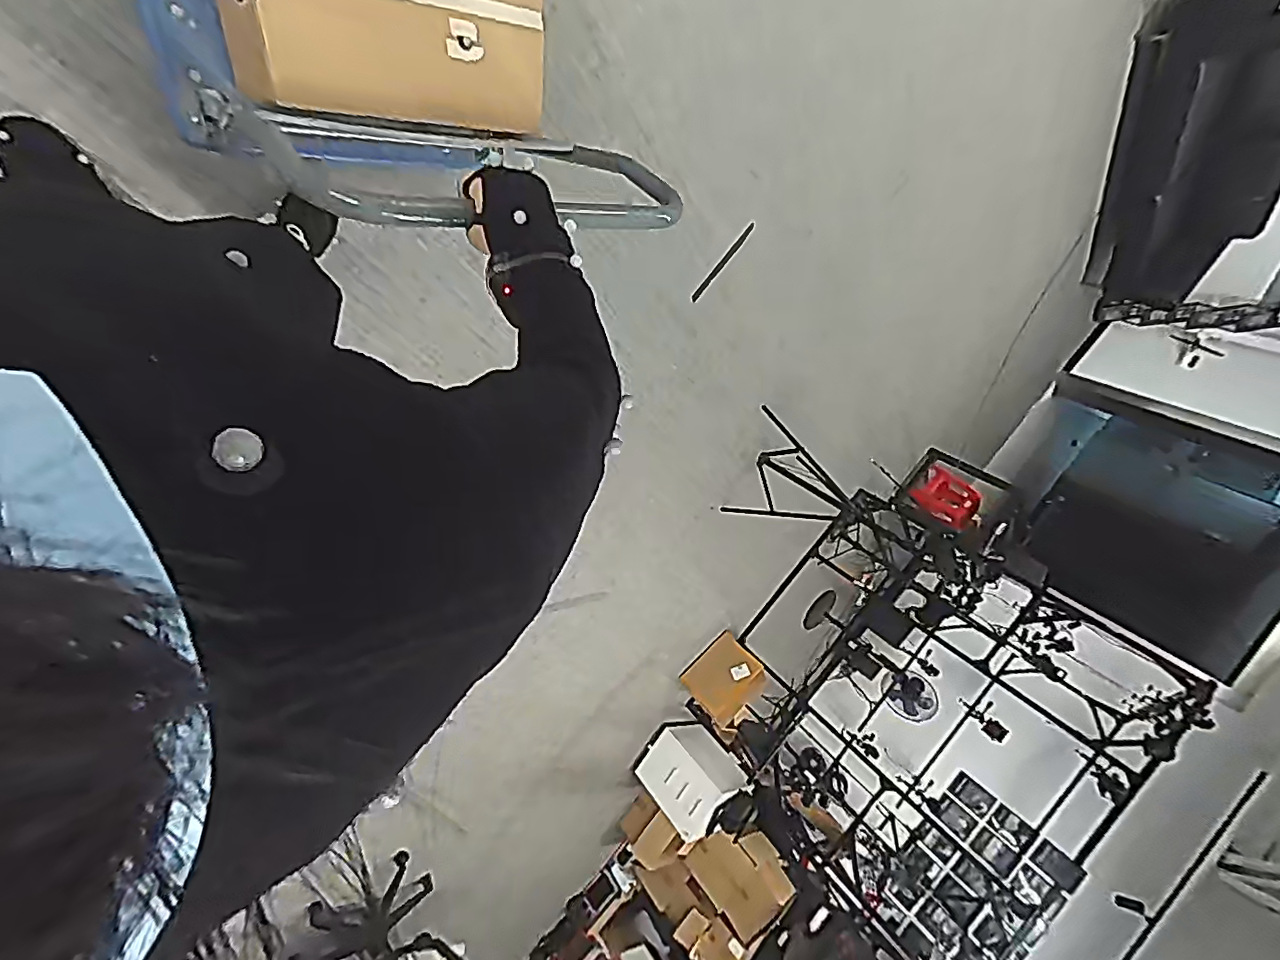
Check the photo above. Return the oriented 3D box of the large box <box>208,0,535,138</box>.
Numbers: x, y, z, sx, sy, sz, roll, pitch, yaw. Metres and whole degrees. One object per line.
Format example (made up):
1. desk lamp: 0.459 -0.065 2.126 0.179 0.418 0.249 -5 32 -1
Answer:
1. large box: -0.416 -0.737 0.838 0.408 0.320 0.320 -20 132 -36
